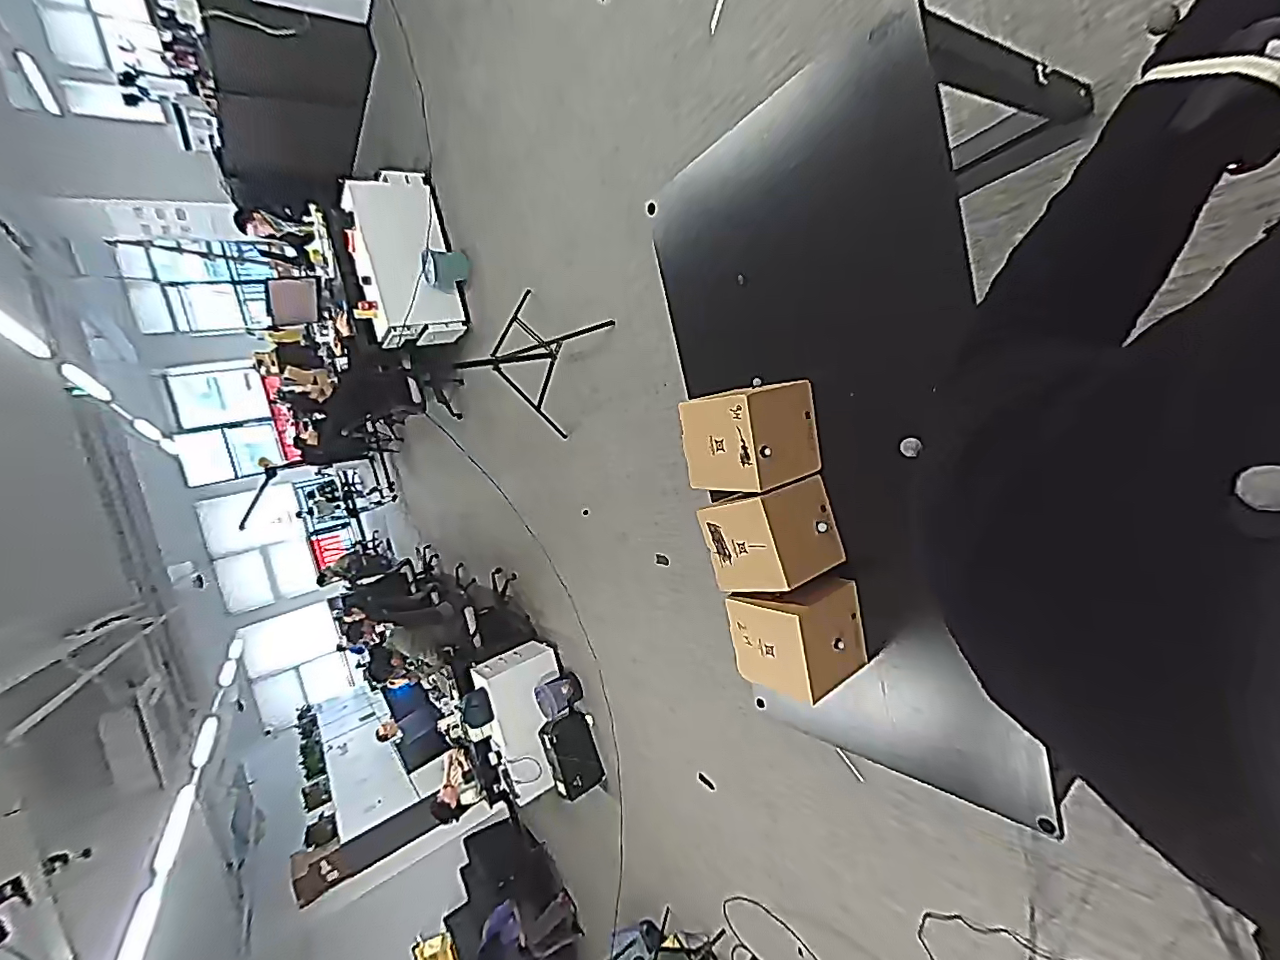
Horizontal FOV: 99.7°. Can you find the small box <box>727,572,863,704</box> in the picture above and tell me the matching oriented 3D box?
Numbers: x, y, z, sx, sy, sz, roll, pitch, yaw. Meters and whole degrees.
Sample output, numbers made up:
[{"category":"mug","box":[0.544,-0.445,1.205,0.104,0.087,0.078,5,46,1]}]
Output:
[{"category":"small box","box":[0.293,0.280,1.006,0.179,0.176,0.168,-1,102,56]}]
